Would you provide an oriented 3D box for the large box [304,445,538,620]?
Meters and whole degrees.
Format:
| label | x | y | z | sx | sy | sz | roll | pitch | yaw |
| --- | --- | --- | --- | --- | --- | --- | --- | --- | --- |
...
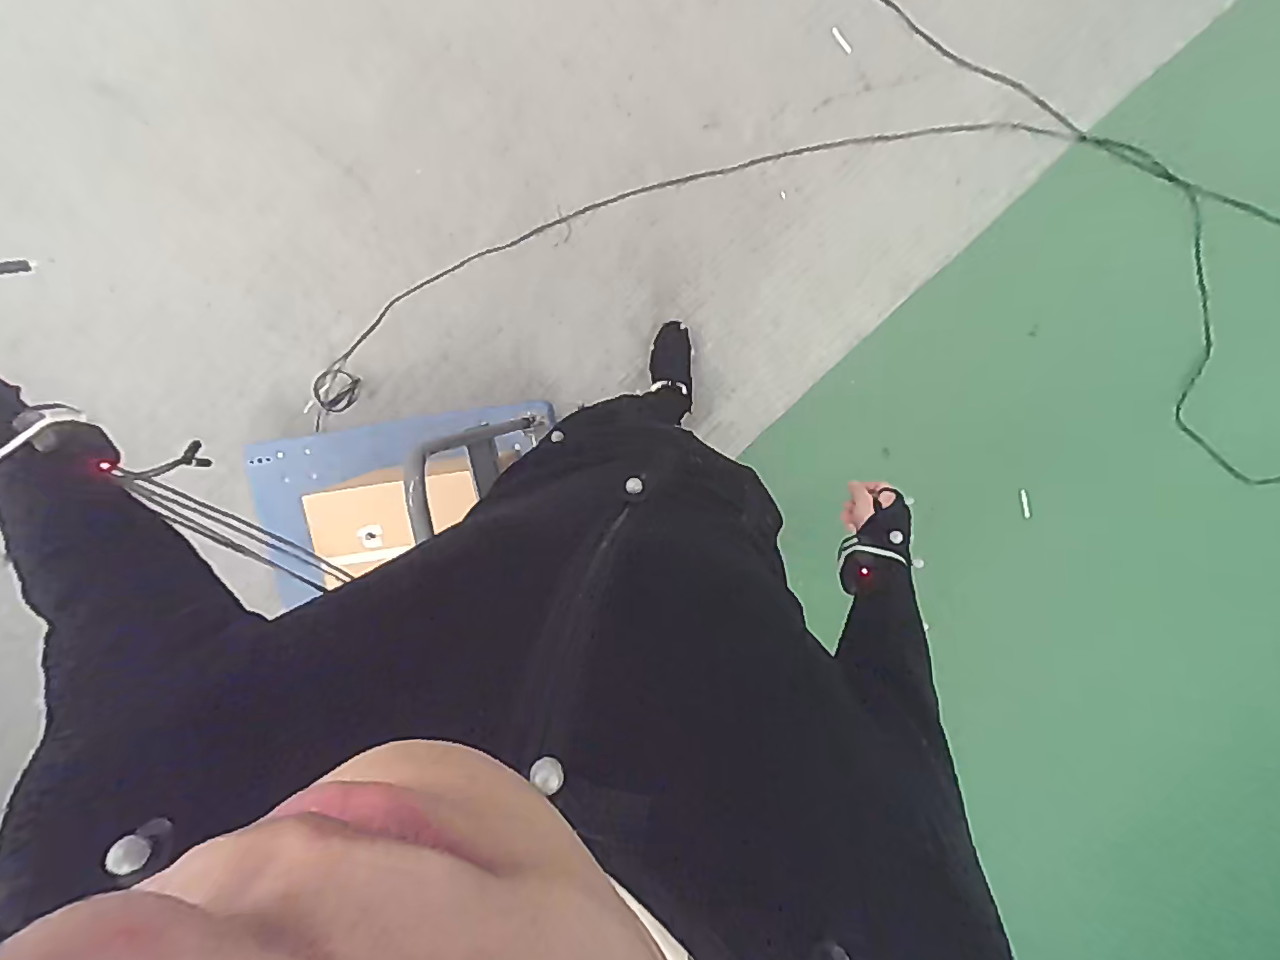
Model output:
| label | x | y | z | sx | sy | sz | roll | pitch | yaw |
| --- | --- | --- | --- | --- | --- | --- | --- | --- | --- |
| large box | -0.508 | 0.114 | 1.337 | 0.408 | 0.320 | 0.320 | -8 | 101 | 6 |
